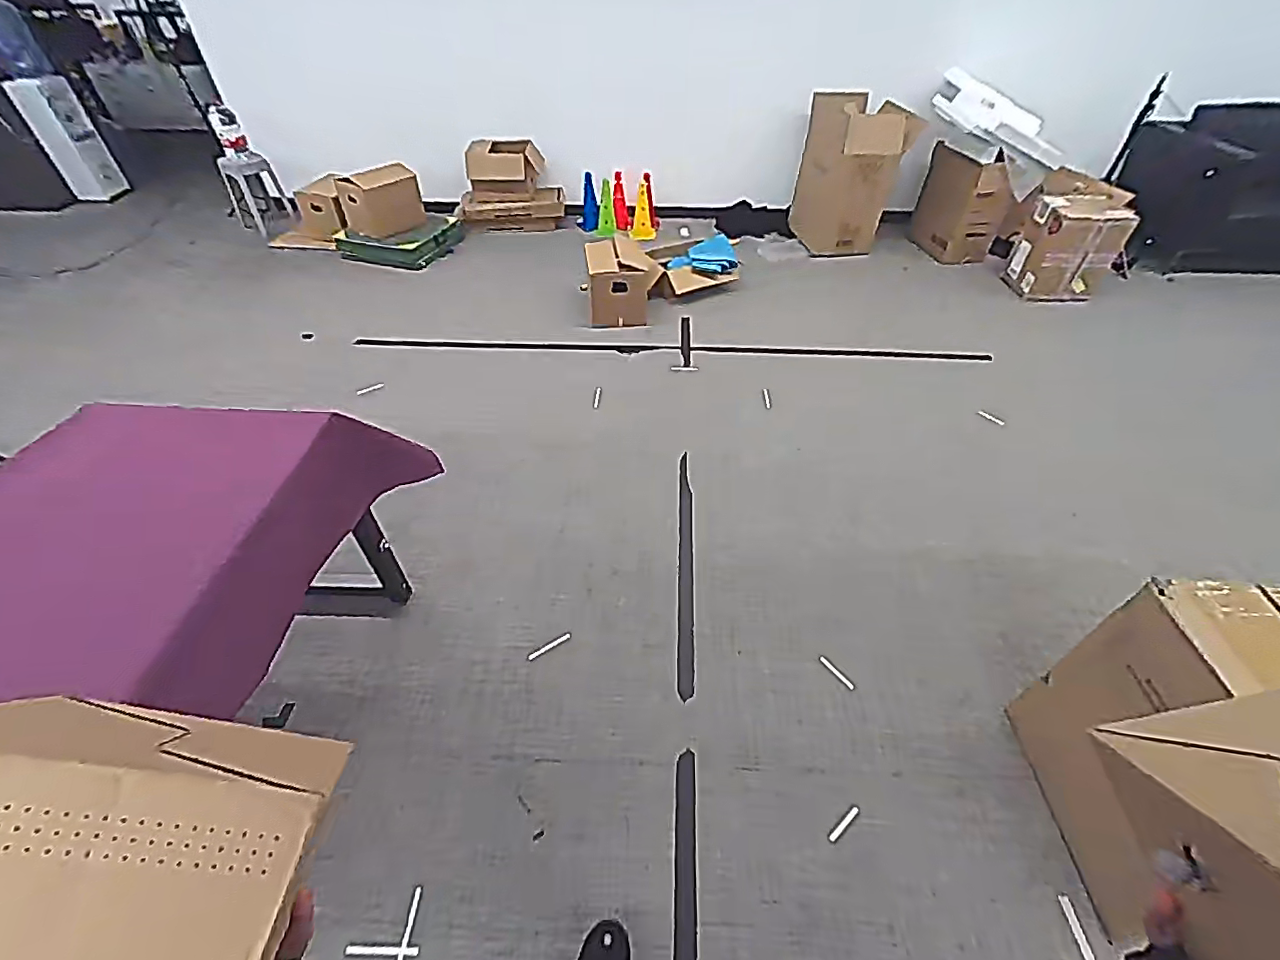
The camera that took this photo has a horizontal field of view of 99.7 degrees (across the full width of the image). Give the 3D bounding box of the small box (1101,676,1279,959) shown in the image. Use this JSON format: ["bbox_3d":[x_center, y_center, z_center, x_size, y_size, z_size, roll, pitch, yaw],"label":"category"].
[{"bbox_3d":[0.354,0.190,0.234,0.168,0.179,0.176,-22,77,16],"label":"small box"}]

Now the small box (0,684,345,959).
[{"bbox_3d":[-0.270,0.210,0.273,0.179,0.168,0.176,19,66,-16],"label":"small box"}]
